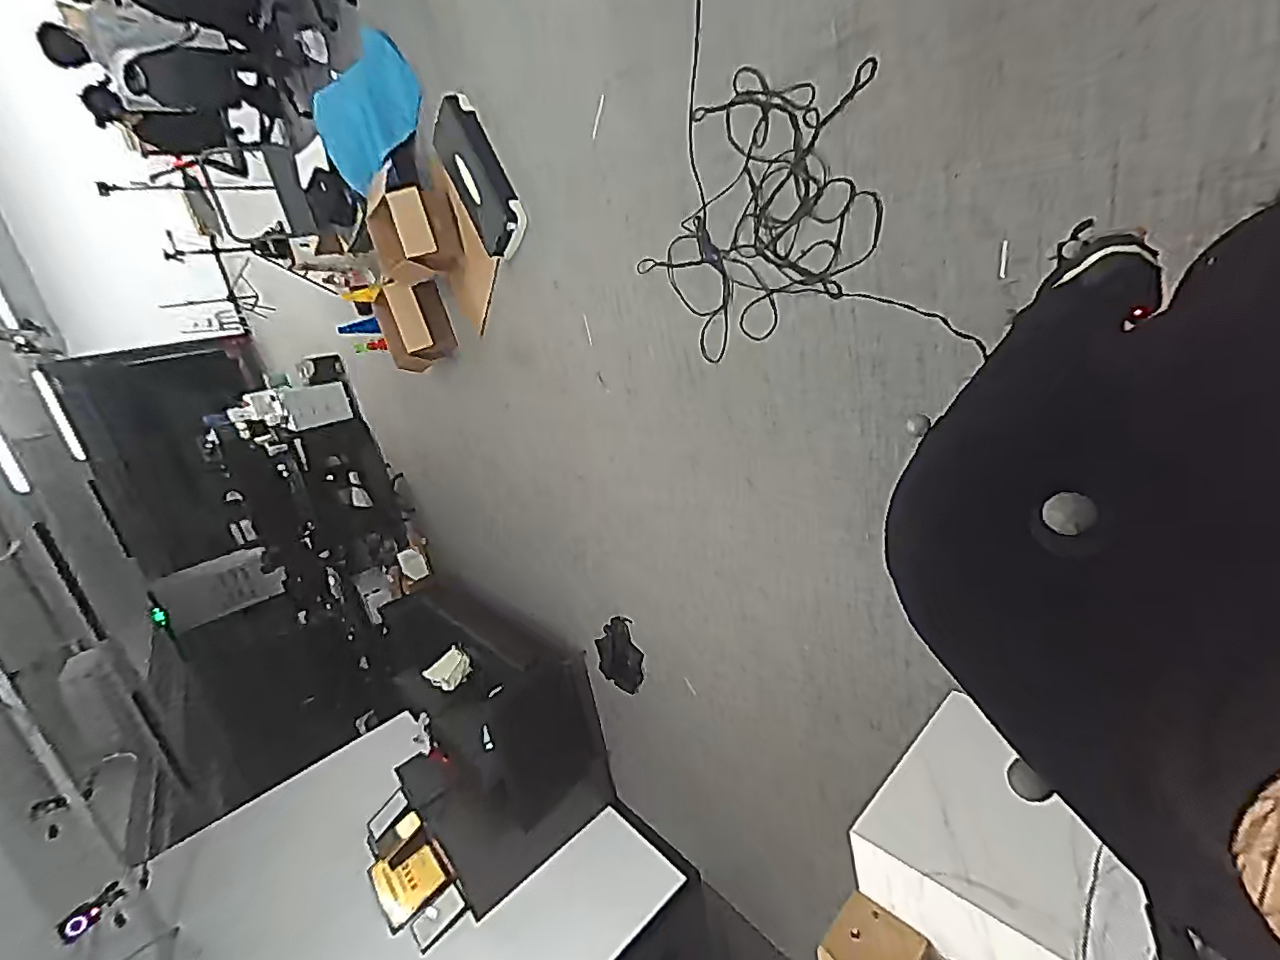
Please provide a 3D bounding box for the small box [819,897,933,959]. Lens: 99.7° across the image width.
[{"bbox_3d":[0.506,1.052,1.147,0.168,0.176,0.179,8,116,51],"label":"small box"}]
